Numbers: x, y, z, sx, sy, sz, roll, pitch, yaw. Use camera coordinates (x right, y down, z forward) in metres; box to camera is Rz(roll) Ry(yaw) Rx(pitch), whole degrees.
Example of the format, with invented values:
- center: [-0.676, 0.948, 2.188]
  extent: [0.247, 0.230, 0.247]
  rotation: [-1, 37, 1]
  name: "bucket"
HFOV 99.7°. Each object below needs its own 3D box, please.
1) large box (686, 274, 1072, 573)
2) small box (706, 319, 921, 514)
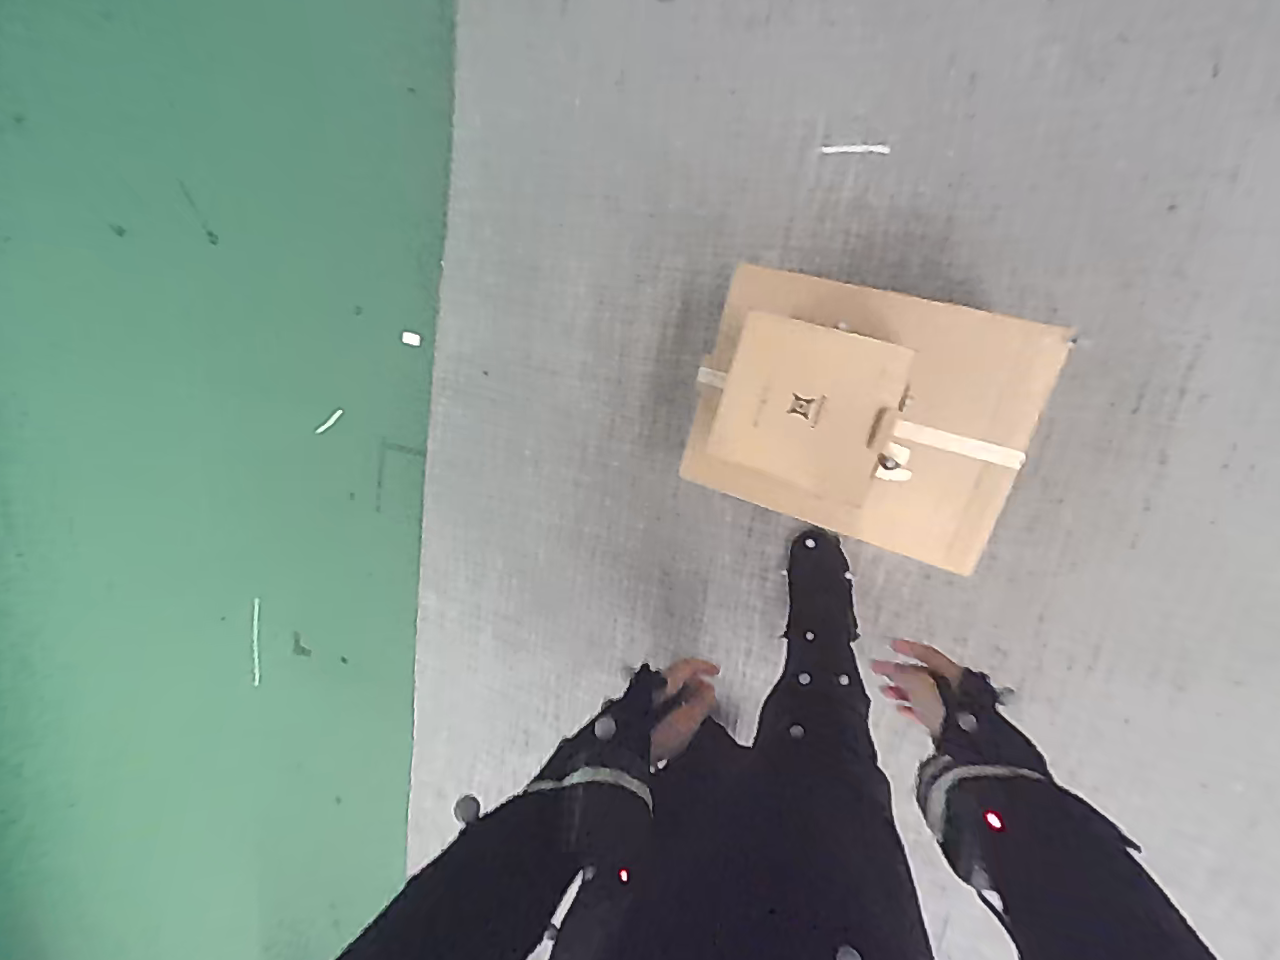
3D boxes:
- center: [0.330, -0.101, 0.846]
  extent: [0.408, 0.320, 0.320]
  rotation: [19, 105, 17]
  name: "large box"
- center: [0.202, -0.077, 0.636]
  extent: [0.179, 0.176, 0.168]
  rotation: [20, 103, 19]
  name: "small box"
